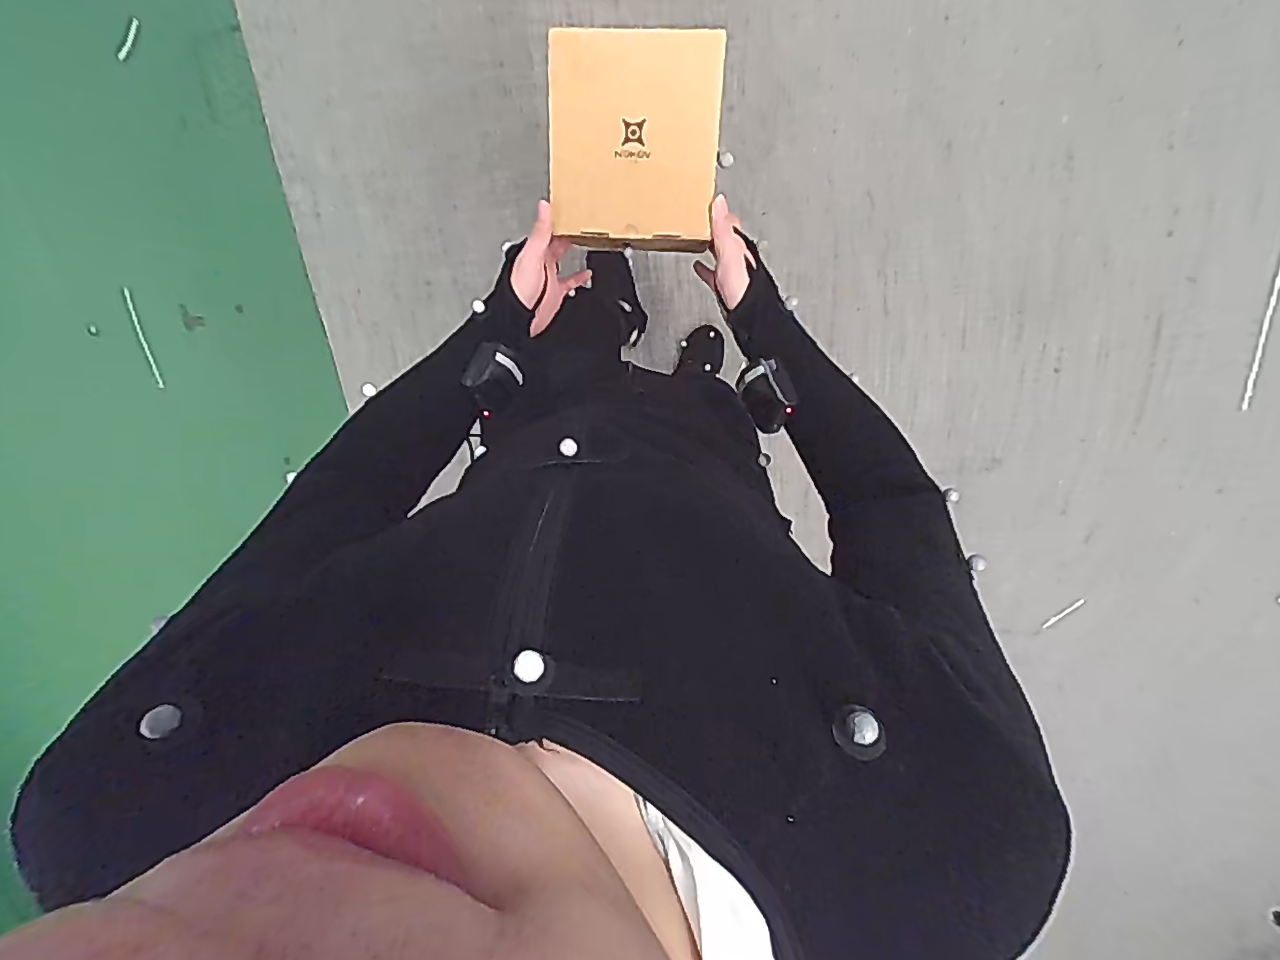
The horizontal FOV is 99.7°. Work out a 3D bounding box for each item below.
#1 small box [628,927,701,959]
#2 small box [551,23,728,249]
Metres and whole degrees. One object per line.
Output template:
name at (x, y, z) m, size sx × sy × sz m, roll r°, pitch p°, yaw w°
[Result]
small box at (0.053, 1.180, 1.243) m, size 0.168 × 0.176 × 0.179 m, roll 1°, pitch 109°, yaw 9°
small box at (0.000, -0.358, 0.595) m, size 0.168 × 0.176 × 0.179 m, roll 4°, pitch 110°, yaw 3°
